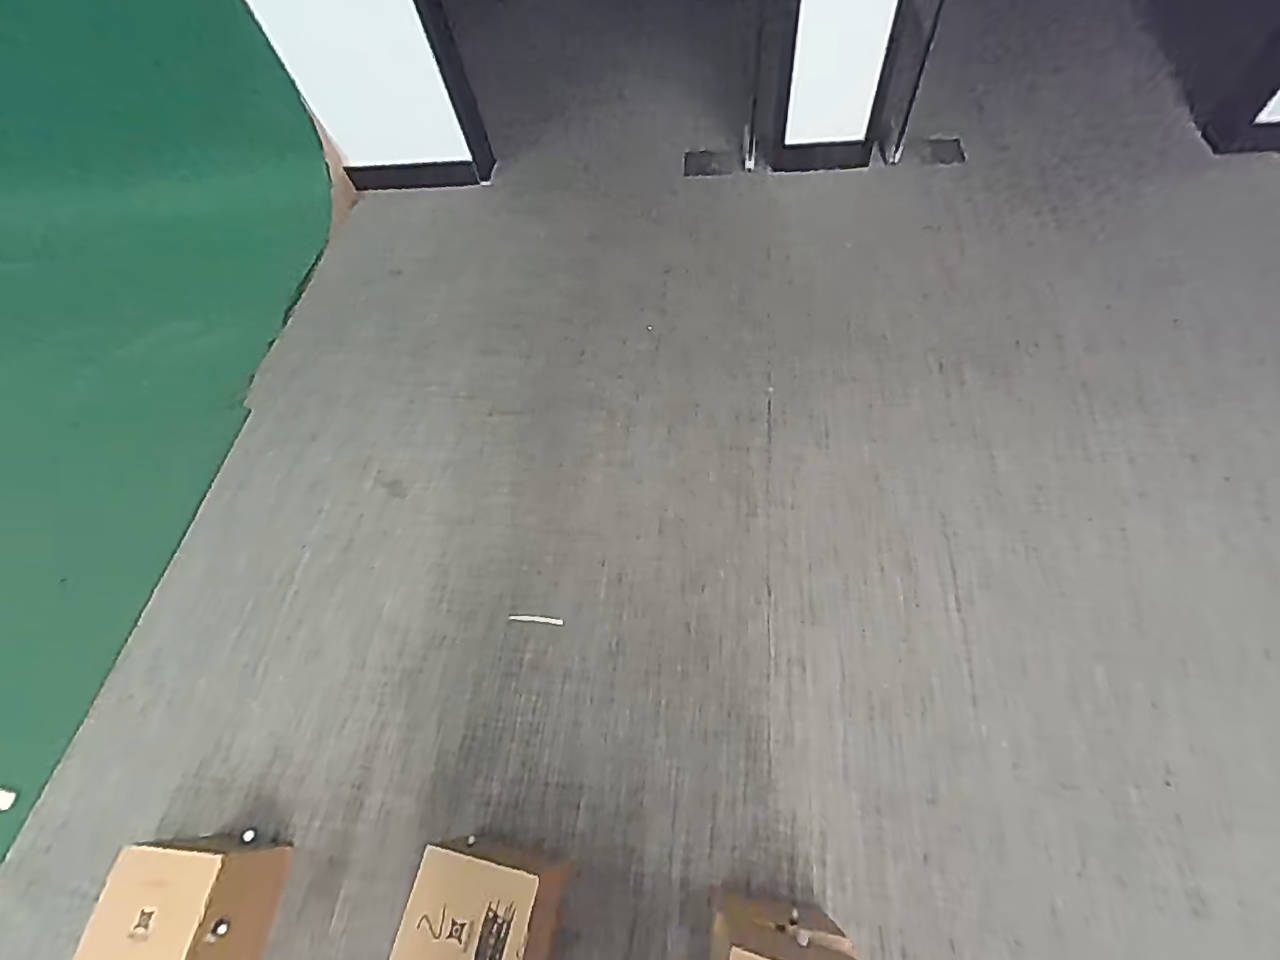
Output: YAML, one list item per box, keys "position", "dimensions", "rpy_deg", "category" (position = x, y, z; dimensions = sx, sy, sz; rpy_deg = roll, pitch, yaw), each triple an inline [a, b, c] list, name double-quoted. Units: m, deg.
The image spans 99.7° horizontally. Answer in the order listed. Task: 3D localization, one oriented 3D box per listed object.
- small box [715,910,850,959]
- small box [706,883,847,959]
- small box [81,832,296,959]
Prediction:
- position: [0.152, 0.593, 0.562]
  dimensions: [0.168, 0.176, 0.179]
  rpy_deg: [12, 62, 13]
  category: "small box"
- position: [0.172, 0.668, 0.714]
  dimensions: [0.168, 0.176, 0.179]
  rpy_deg: [5, 62, 9]
  category: "small box"
- position: [-0.677, 0.659, 0.831]
  dimensions: [0.168, 0.176, 0.179]
  rpy_deg: [1, 61, 7]
  category: "small box"
